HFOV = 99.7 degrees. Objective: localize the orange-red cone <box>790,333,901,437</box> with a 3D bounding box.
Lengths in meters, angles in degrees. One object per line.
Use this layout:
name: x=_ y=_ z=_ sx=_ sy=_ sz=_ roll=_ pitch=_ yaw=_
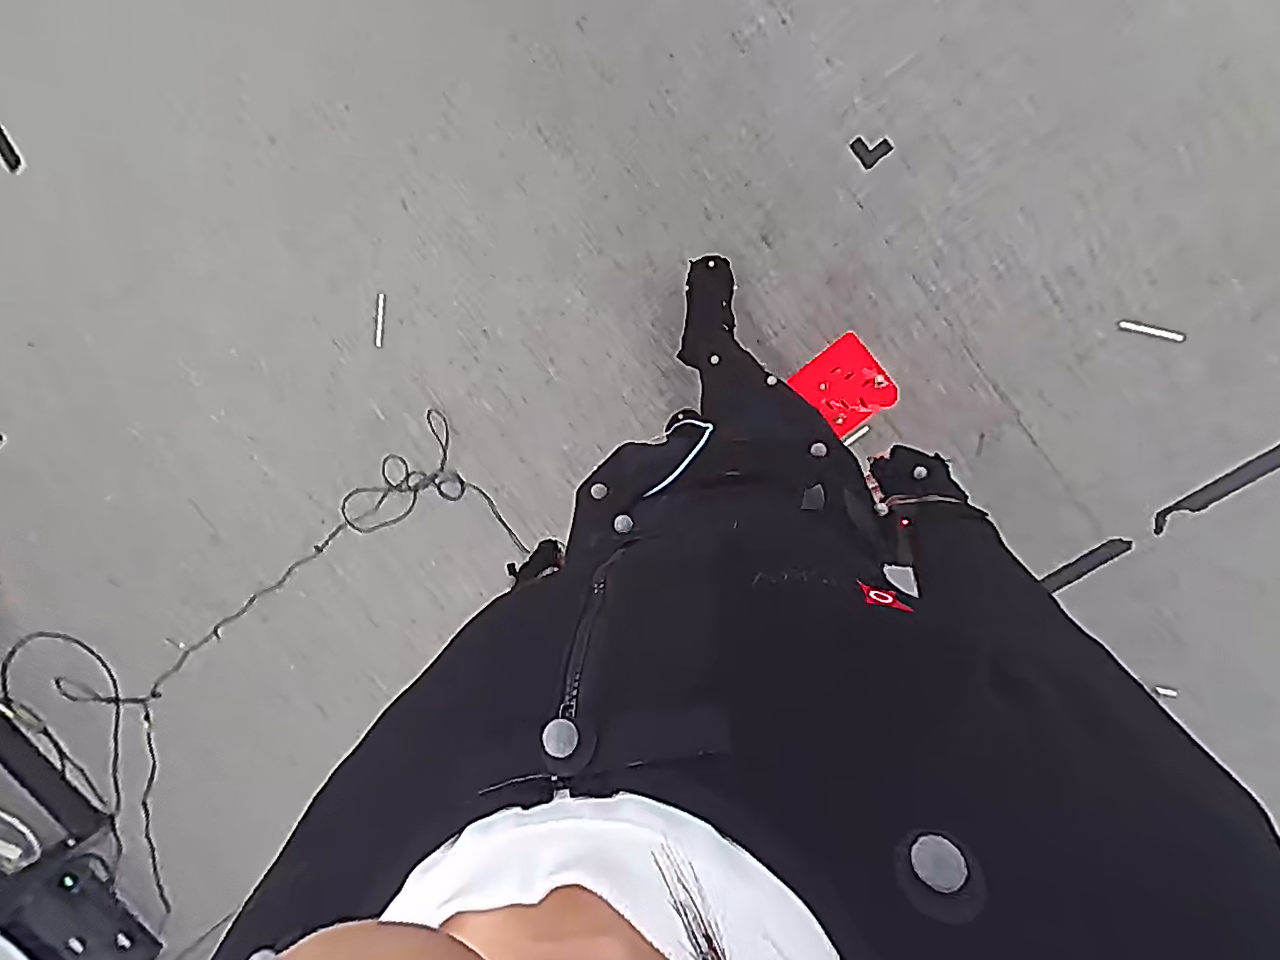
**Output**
orange-red cone: x=0.473 y=-0.194 z=1.147 sx=0.199 sy=0.360 sz=0.198 roll=-38 pitch=96 yaw=12
